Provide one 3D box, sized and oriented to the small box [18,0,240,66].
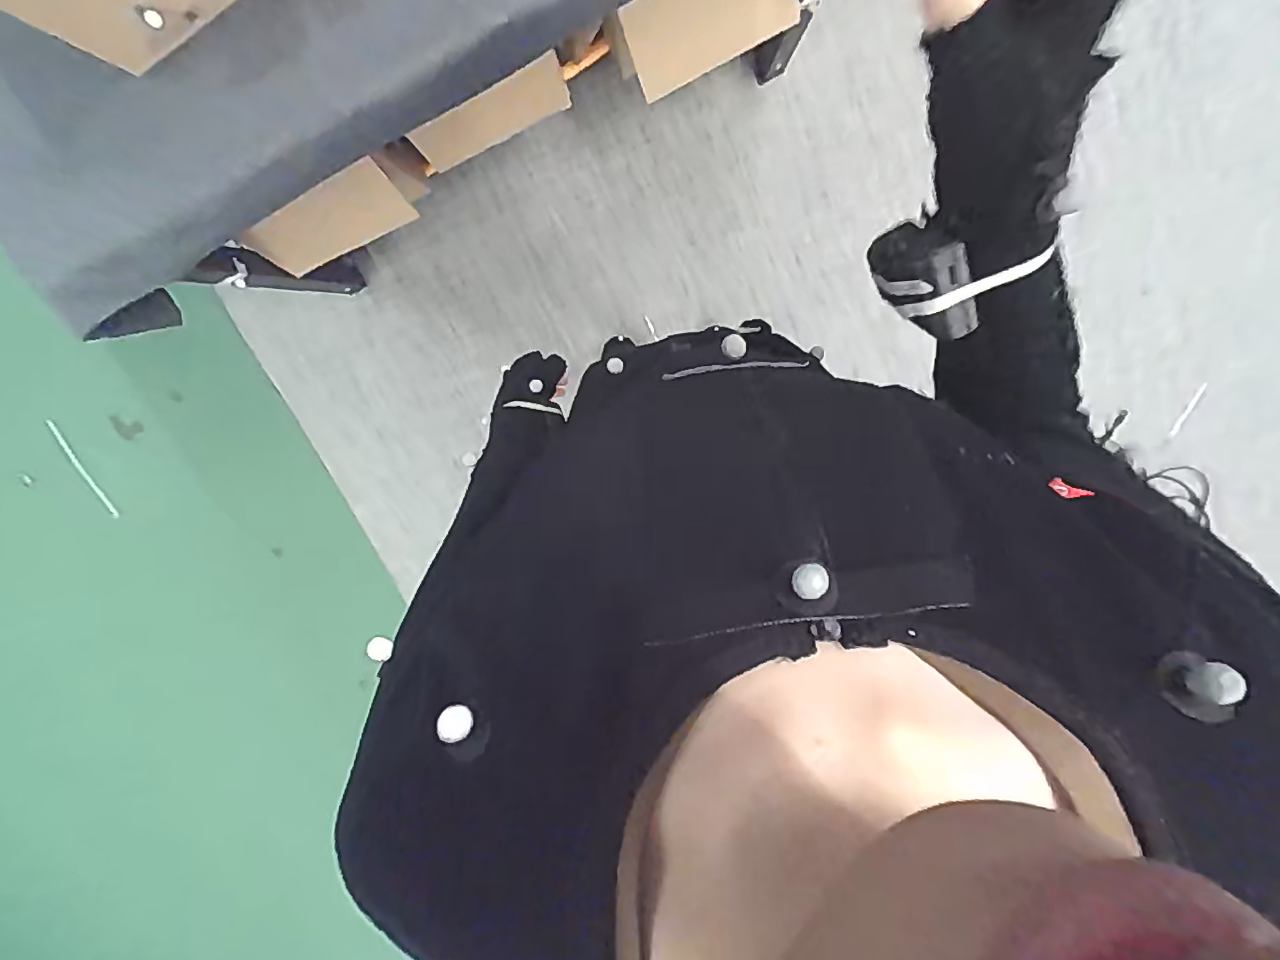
[{"bbox_3d":[-0.548,-0.559,0.518,0.168,0.176,0.179,-27,104,10],"label":"small box"}]
